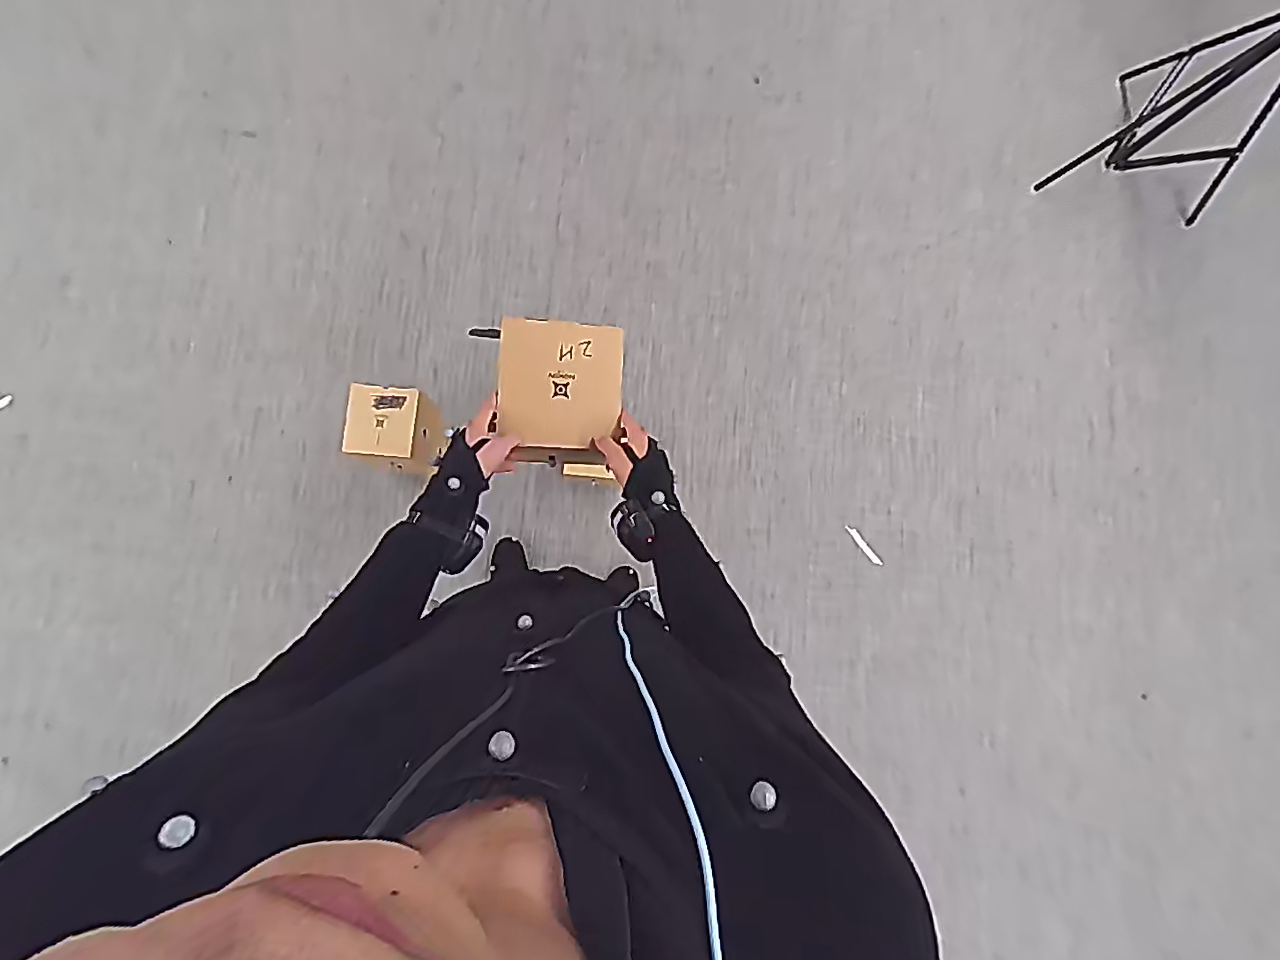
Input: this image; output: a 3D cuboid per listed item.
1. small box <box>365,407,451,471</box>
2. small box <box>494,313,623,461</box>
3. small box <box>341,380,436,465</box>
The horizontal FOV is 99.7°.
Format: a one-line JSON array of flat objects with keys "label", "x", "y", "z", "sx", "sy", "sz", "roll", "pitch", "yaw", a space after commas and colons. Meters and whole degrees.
[{"label": "small box", "x": -0.658, "y": -0.122, "z": 1.555, "sx": 0.179, "sy": 0.176, "sz": 0.168, "roll": 5, "pitch": 83, "yaw": -4}, {"label": "small box", "x": -0.121, "y": -0.124, "z": 0.797, "sx": 0.168, "sy": 0.176, "sz": 0.179, "roll": 3, "pitch": 85, "yaw": -12}, {"label": "small box", "x": -0.638, "y": -0.143, "z": 1.394, "sx": 0.168, "sy": 0.176, "sz": 0.179, "roll": 5, "pitch": 84, "yaw": -4}]
